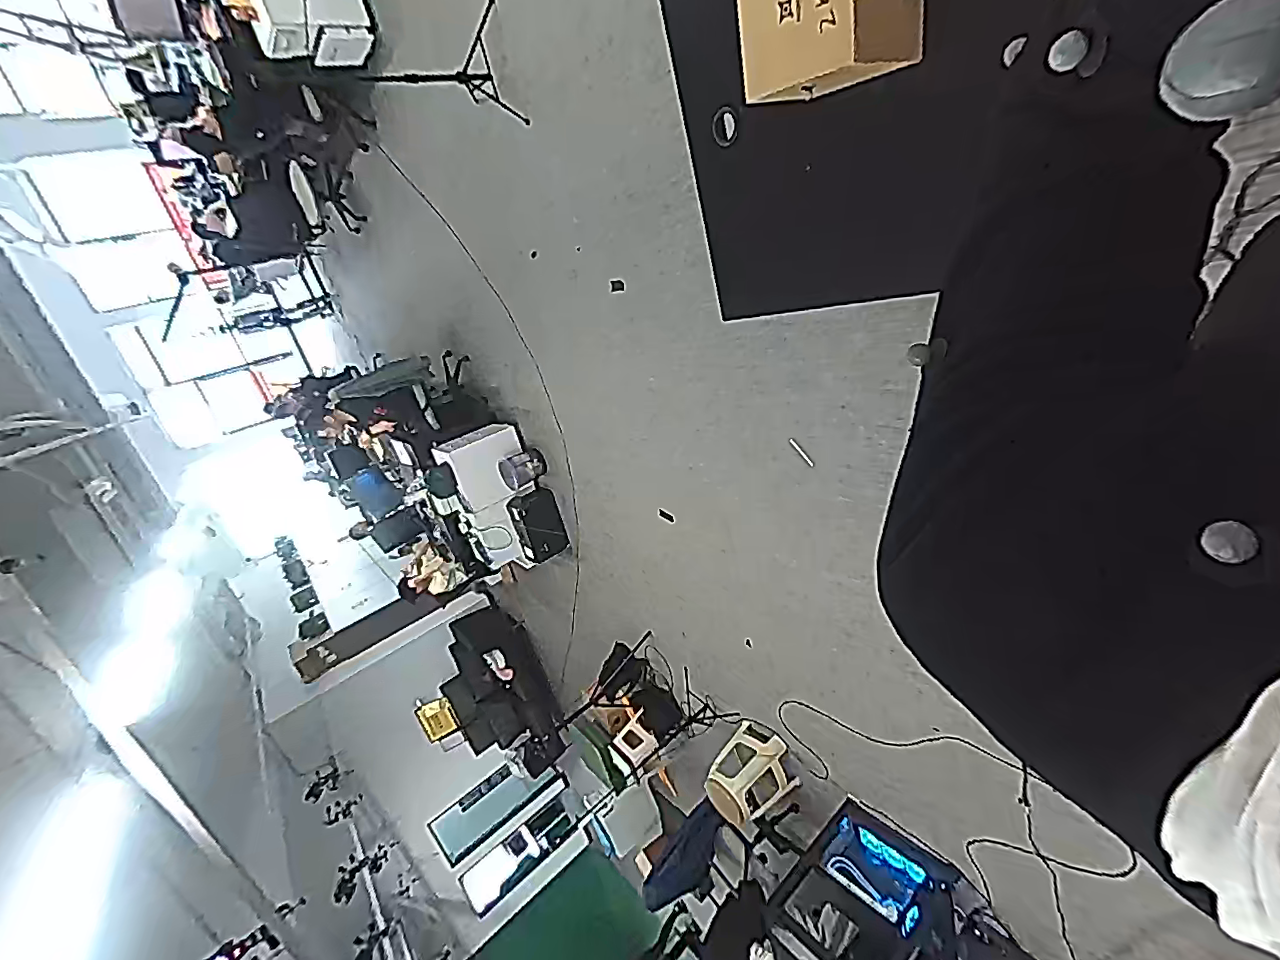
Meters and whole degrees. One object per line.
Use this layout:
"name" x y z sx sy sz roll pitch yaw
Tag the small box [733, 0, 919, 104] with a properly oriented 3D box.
"small box" 0.248 -0.627 0.726 0.179 0.176 0.168 20 131 48
